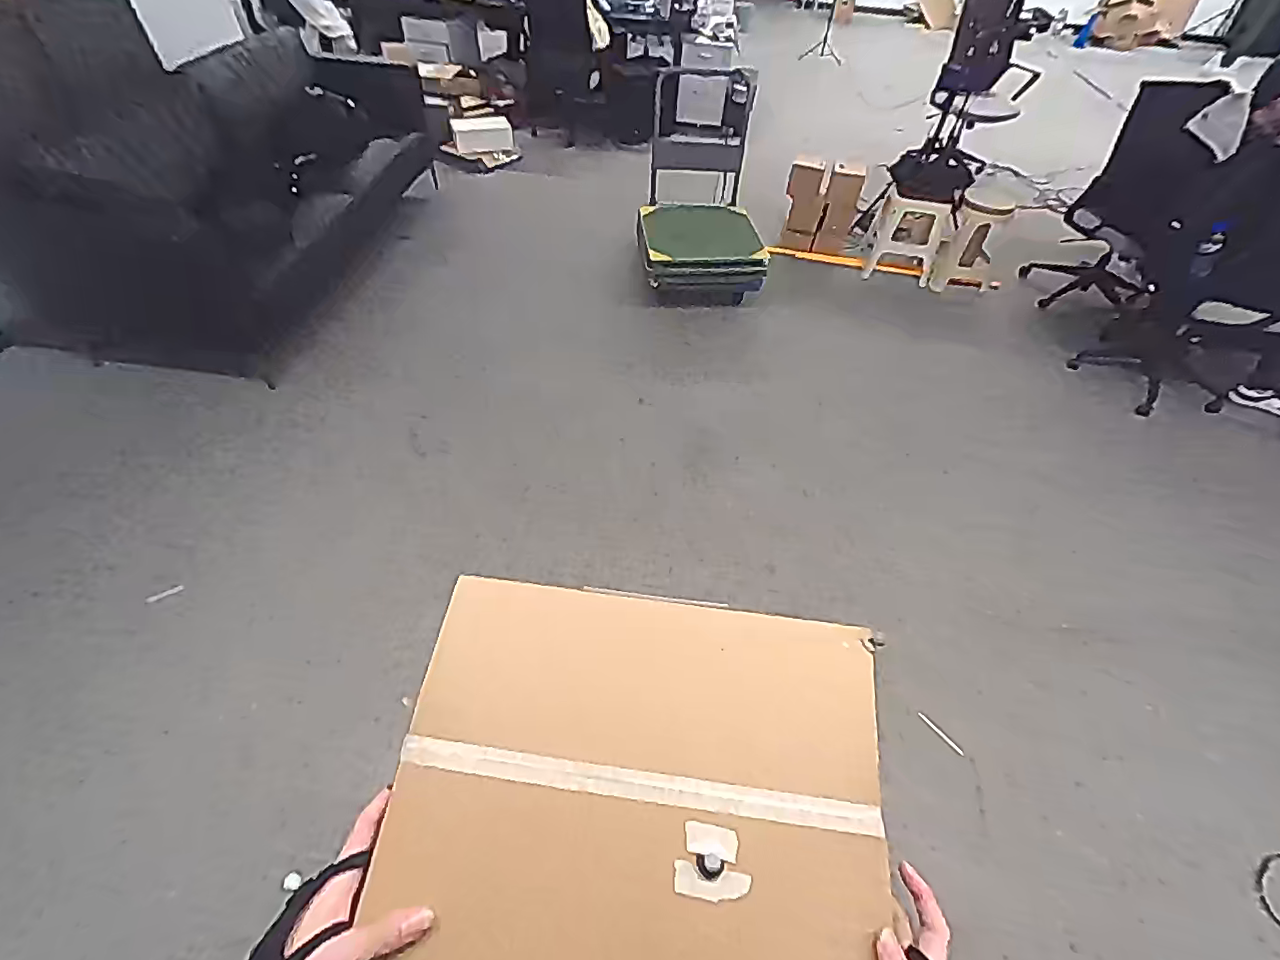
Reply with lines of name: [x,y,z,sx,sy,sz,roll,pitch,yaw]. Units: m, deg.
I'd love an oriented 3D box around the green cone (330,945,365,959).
green cone: [-0.591,1.008,0.993,0.200,0.368,0.202,12,51,7]

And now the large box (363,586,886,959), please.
large box: [0.001,0.331,0.597,0.408,0.320,0.320,6,62,4]
